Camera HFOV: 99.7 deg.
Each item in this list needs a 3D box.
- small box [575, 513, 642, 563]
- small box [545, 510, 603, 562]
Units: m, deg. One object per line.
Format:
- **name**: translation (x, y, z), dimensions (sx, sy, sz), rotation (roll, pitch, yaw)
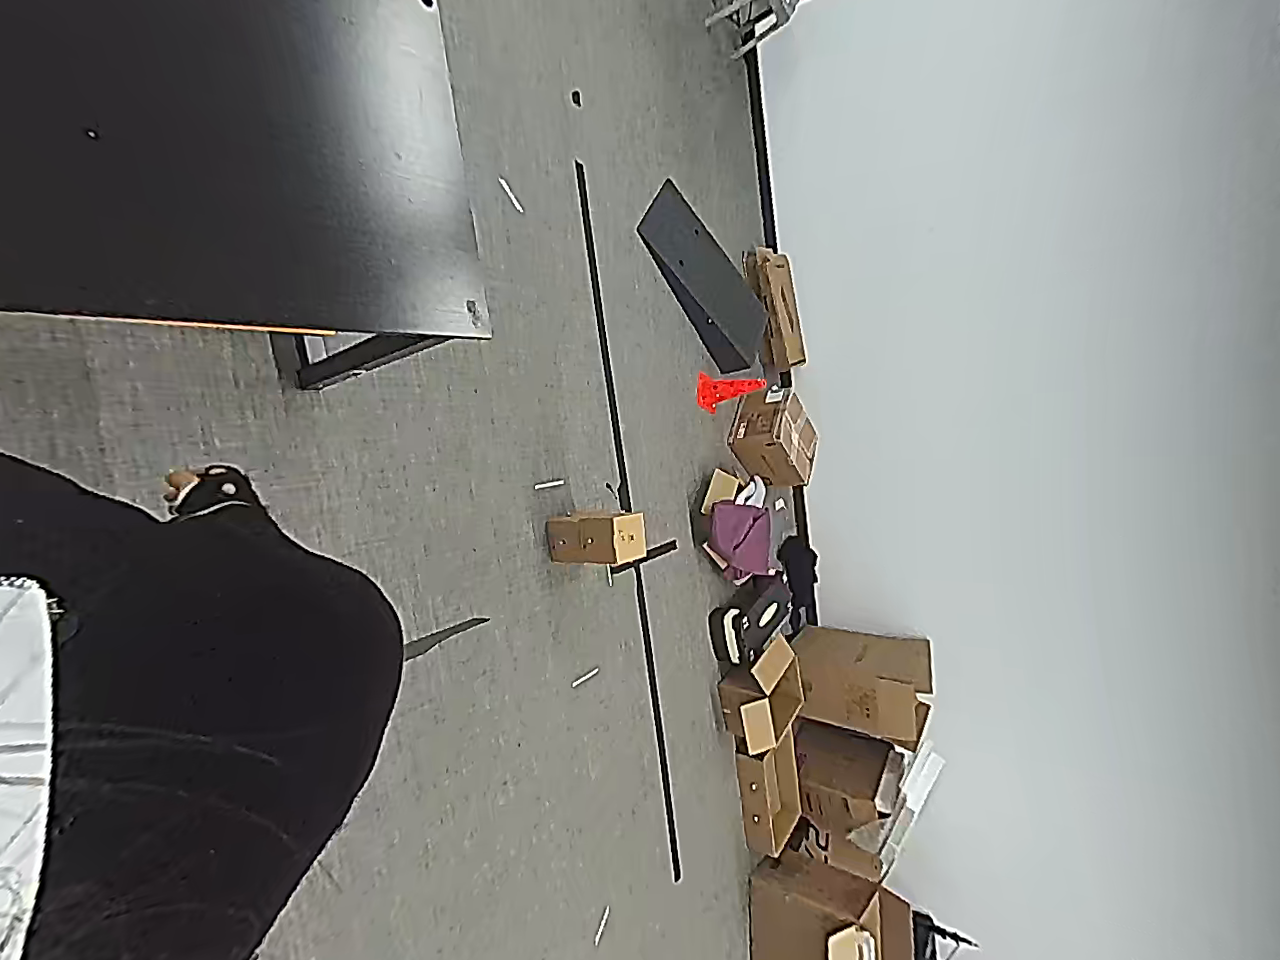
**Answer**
- **small box**: translation (-0.116, 0.208, 1.984), dimensions (0.179, 0.176, 0.168), rotation (-6, 91, -52)
- **small box**: translation (-0.249, 0.215, 2.083), dimensions (0.179, 0.176, 0.168), rotation (-15, 99, -51)
